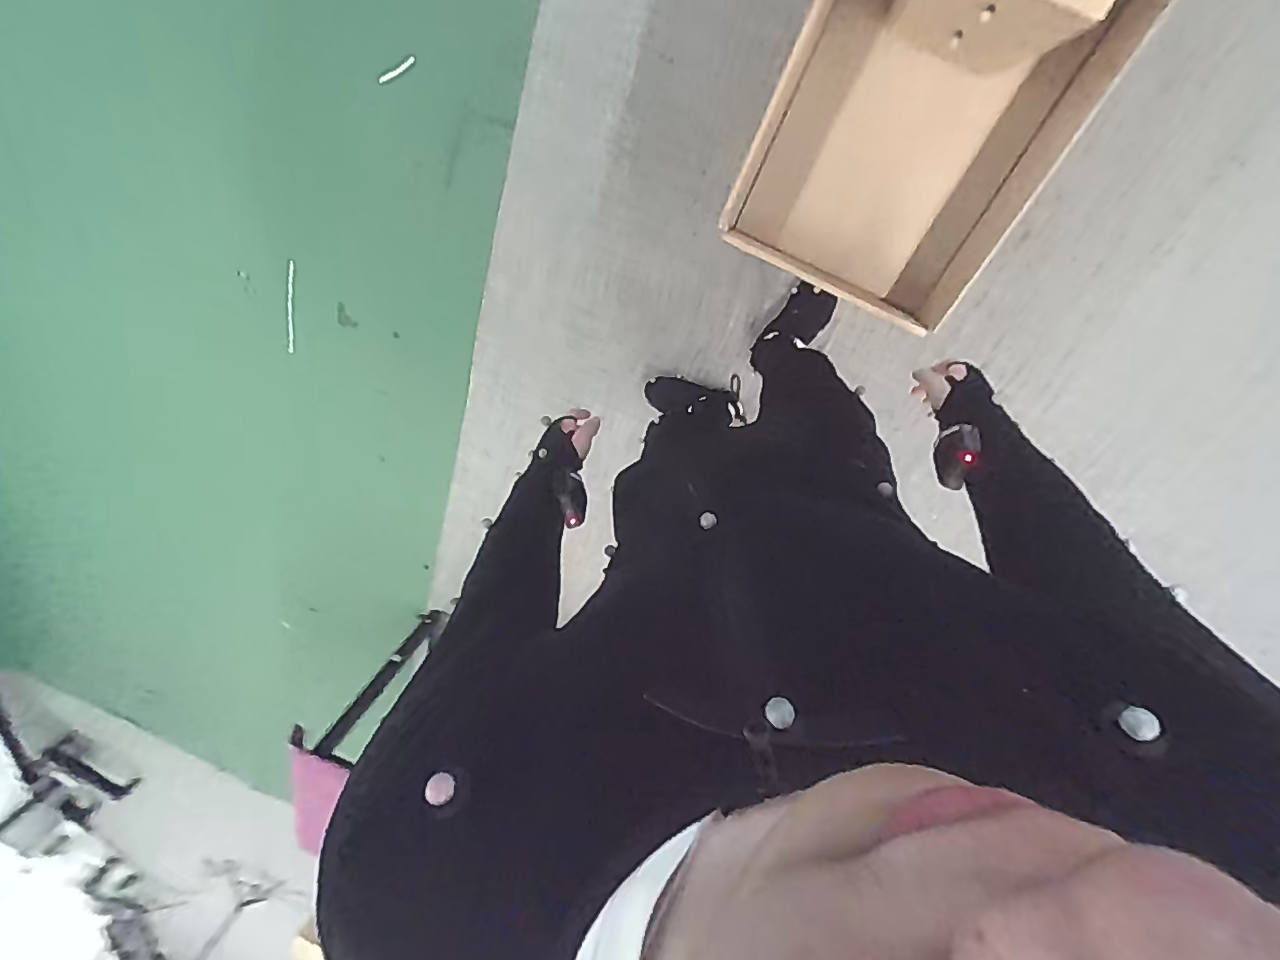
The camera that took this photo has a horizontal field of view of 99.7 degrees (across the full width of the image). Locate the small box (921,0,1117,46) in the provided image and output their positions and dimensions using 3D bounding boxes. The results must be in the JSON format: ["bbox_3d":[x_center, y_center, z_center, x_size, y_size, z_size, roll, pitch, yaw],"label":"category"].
[{"bbox_3d":[0.430,-0.591,0.565,0.179,0.176,0.168,25,121,2],"label":"small box"}]

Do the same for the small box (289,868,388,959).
[{"bbox_3d":[-0.847,1.248,1.532,0.179,0.176,0.168,29,121,-3],"label":"small box"}]

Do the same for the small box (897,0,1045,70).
[{"bbox_3d":[0.471,-0.669,0.705,0.179,0.176,0.168,26,121,0],"label":"small box"}]
